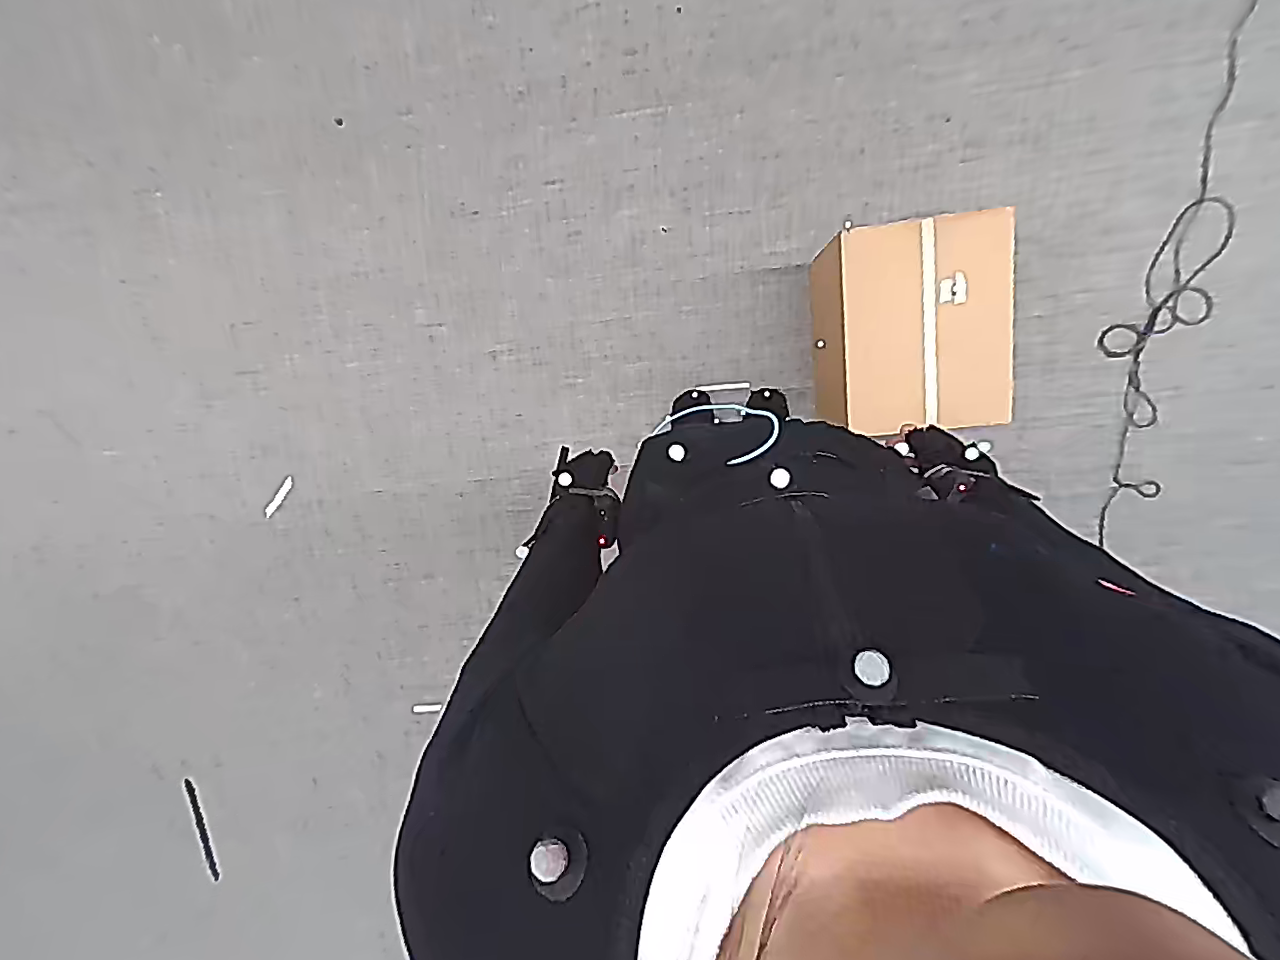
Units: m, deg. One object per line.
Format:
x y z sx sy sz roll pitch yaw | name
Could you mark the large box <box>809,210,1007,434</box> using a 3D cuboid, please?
0.576 -0.326 1.216 0.320 0.320 0.408 -5 99 6 | large box
